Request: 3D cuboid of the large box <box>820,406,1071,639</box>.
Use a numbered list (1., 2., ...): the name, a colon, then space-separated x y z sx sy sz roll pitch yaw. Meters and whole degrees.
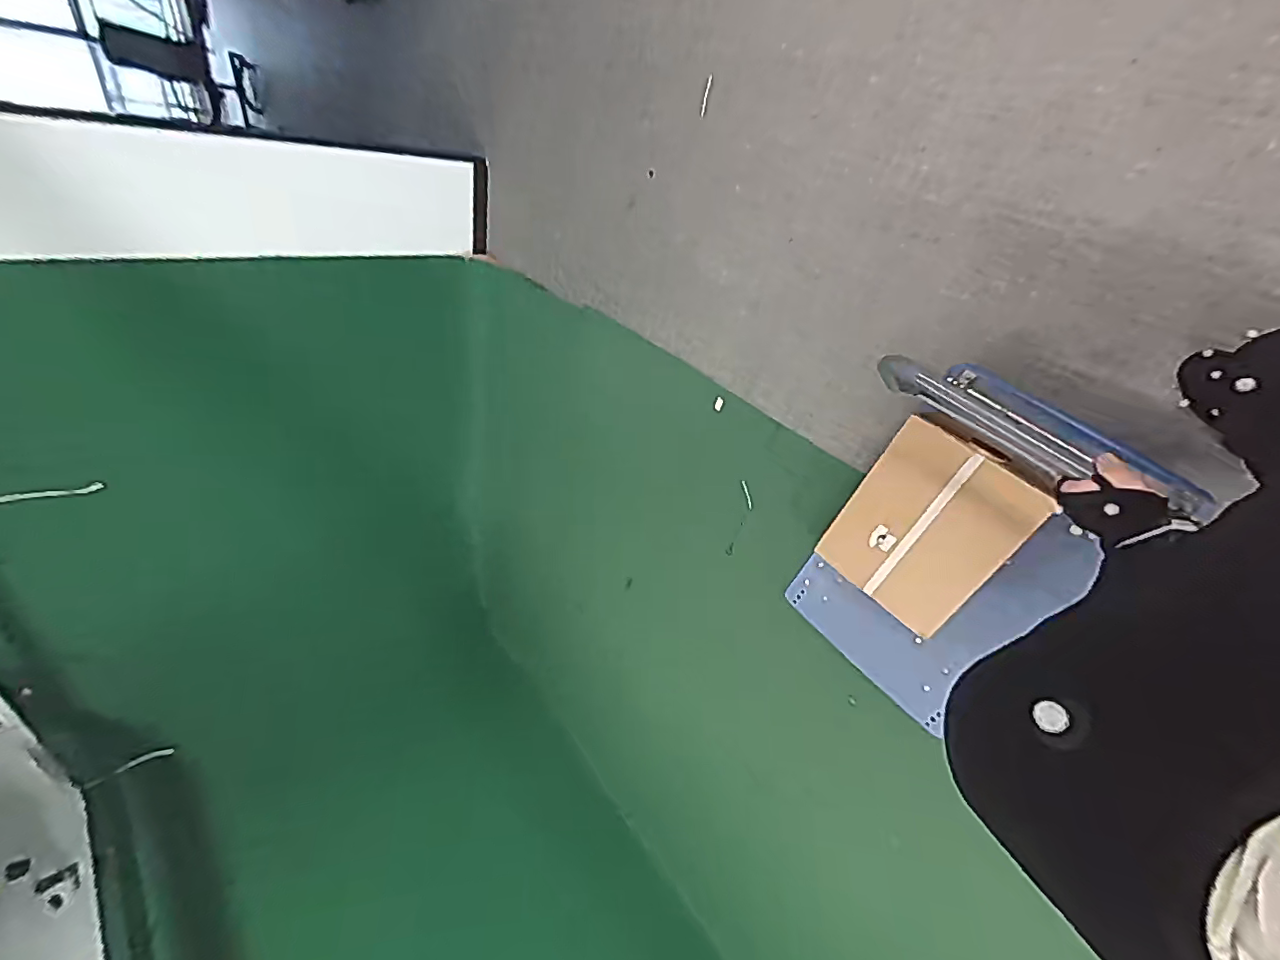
1. large box: 0.704 0.078 1.263 0.320 0.320 0.408 43 124 29
